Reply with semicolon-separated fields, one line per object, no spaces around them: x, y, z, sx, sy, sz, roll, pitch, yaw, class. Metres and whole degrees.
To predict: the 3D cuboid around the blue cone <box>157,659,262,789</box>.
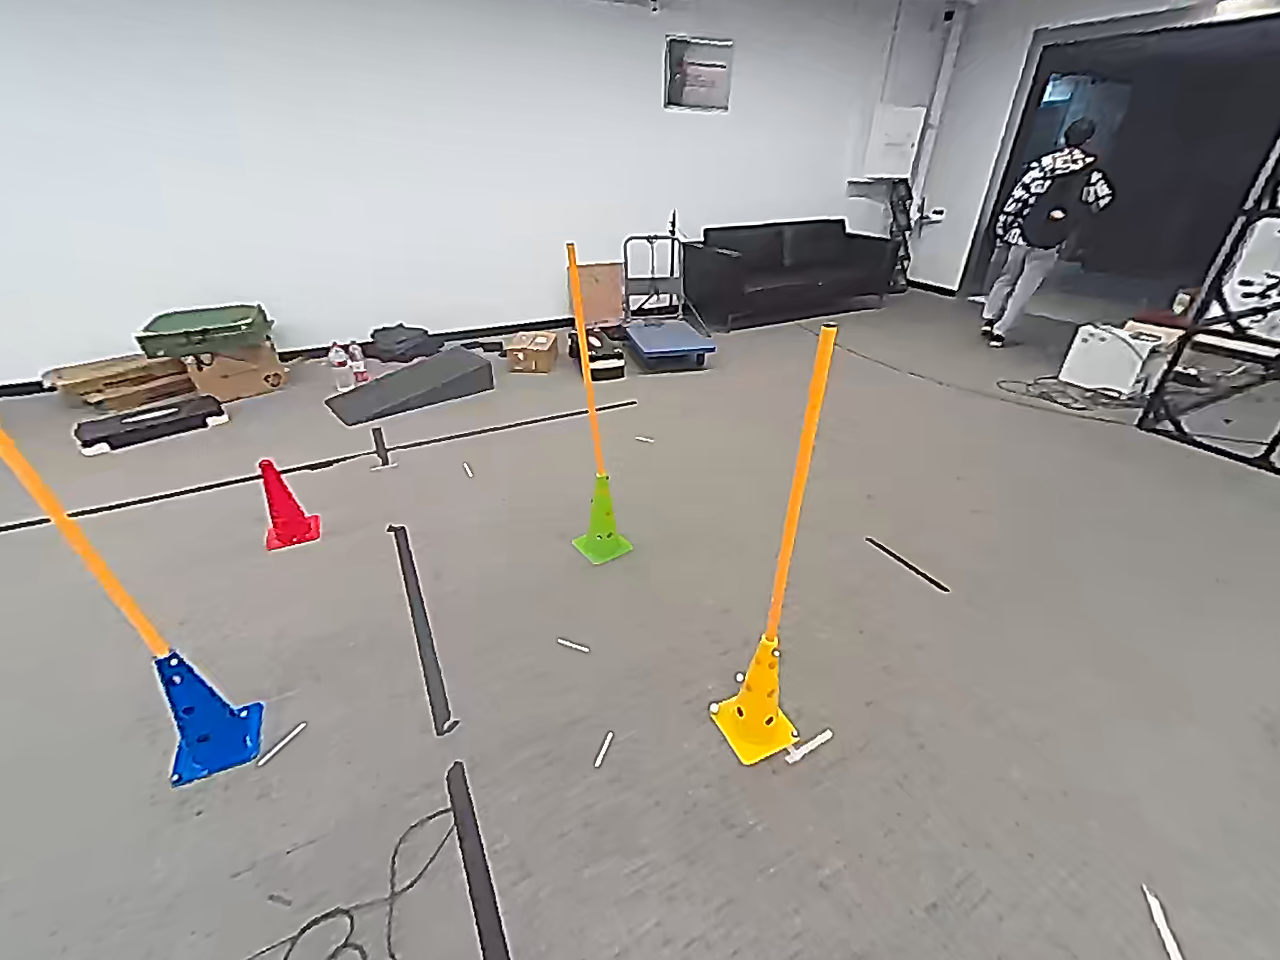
-1.167;0.605;1.425;0.193;0.380;0.192;-13;34;-22;blue cone

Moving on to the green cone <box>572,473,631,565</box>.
-0.160;0.133;2.216;0.200;0.368;0.202;-22;39;-32;green cone
